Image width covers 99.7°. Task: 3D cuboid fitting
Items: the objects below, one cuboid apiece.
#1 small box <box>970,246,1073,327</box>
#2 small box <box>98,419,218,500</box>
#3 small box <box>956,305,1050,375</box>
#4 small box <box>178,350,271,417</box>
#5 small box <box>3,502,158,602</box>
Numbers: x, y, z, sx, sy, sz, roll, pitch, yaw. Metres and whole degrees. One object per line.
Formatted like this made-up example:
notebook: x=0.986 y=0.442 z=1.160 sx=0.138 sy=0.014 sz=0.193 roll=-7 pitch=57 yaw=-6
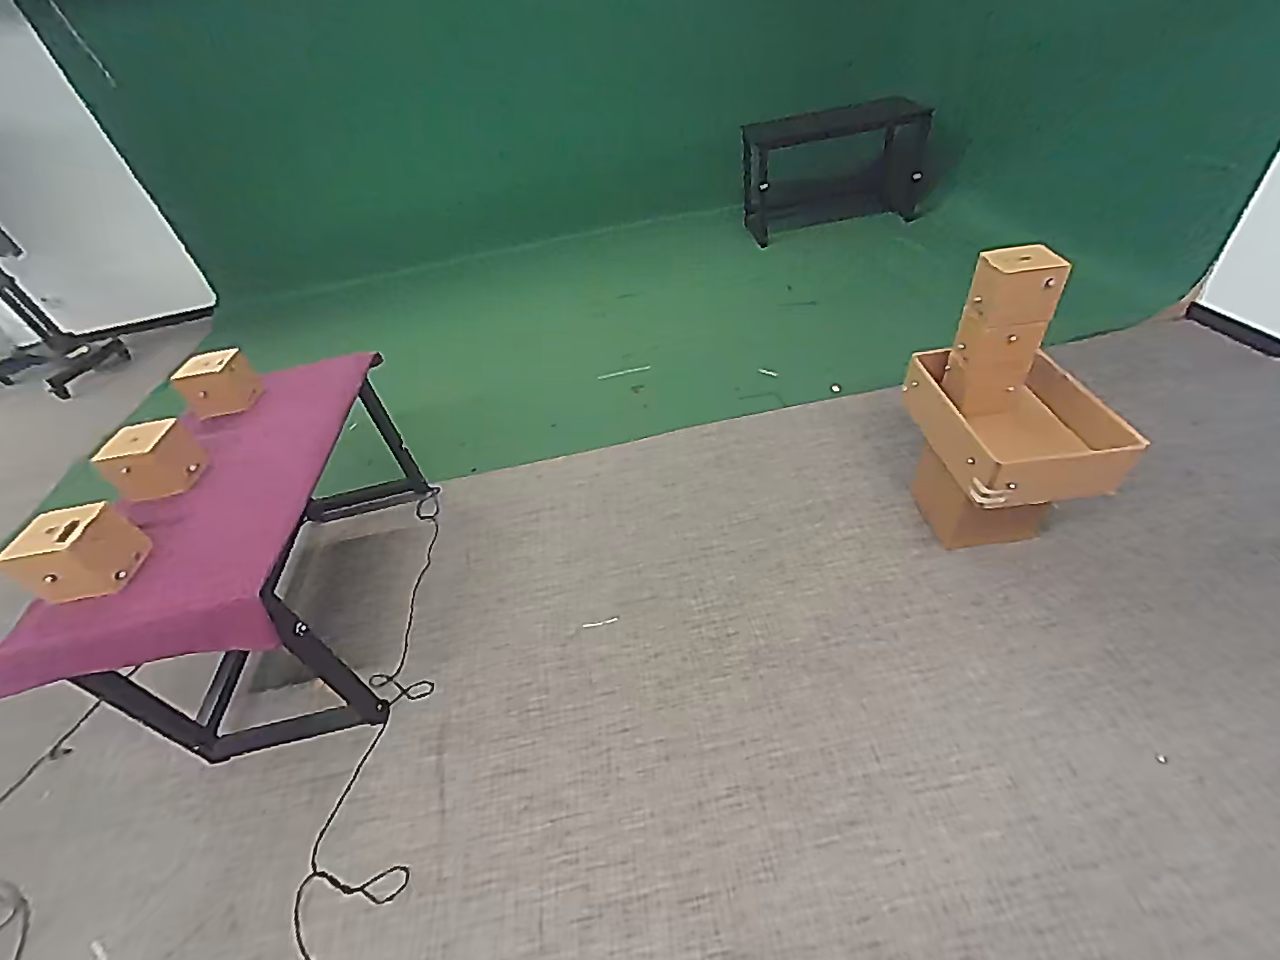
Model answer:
small box: x=1.124 y=-0.575 z=1.611 sx=0.179 sy=0.176 sz=0.168 roll=-6 pitch=42 yaw=7
small box: x=-1.454 y=-0.058 z=1.645 sx=0.179 sy=0.176 sz=0.168 roll=-10 pitch=43 yaw=1
small box: x=1.144 y=-0.453 z=1.721 sx=0.179 sy=0.176 sz=0.168 roll=-6 pitch=42 yaw=6
small box: x=-1.504 y=-0.347 z=1.968 sx=0.179 sy=0.176 sz=0.168 roll=-11 pitch=43 yaw=0
small box: x=-1.389 y=0.183 z=1.361 sx=0.179 sy=0.176 sz=0.168 roll=-11 pitch=41 yaw=0
